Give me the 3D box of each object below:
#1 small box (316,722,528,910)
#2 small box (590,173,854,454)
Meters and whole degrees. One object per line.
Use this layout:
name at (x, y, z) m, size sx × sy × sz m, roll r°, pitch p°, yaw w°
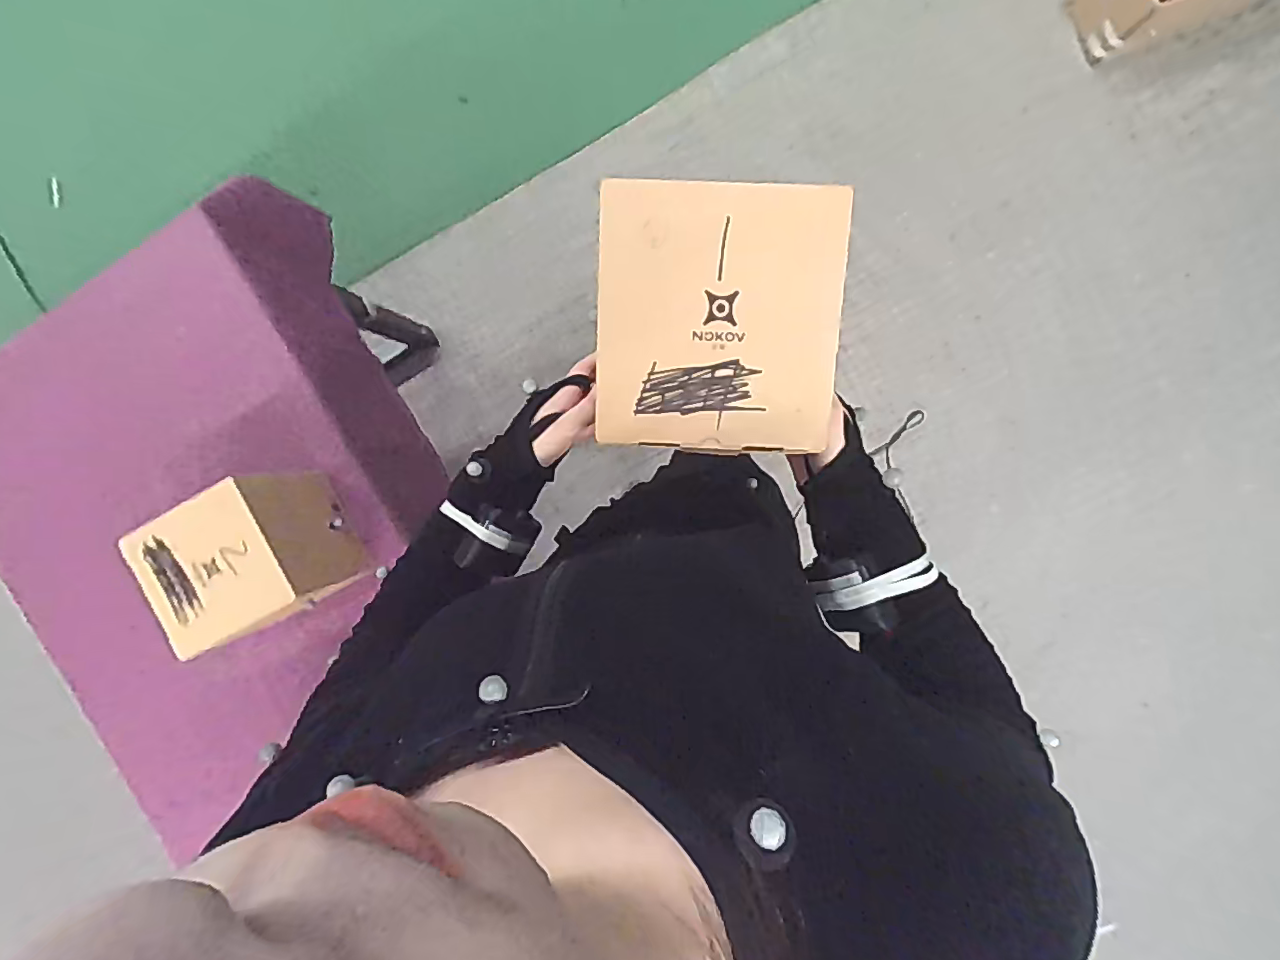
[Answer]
small box at (-0.278, 0.459, 0.729) m, size 0.168 × 0.176 × 0.179 m, roll -28°, pitch 90°, yaw 7°
small box at (0.055, -0.124, 0.442) m, size 0.168 × 0.176 × 0.179 m, roll 3°, pitch 101°, yaw 1°
